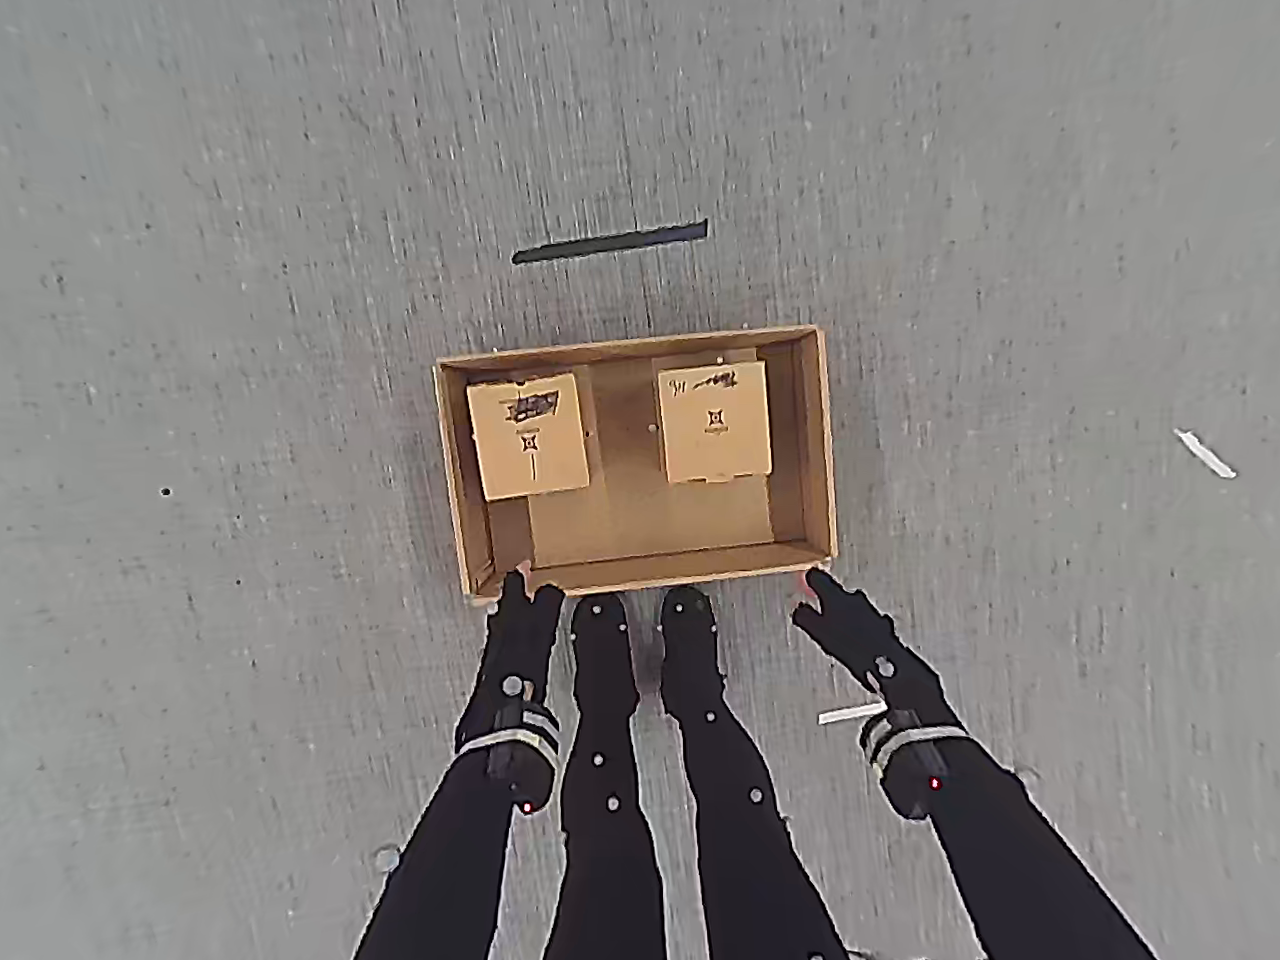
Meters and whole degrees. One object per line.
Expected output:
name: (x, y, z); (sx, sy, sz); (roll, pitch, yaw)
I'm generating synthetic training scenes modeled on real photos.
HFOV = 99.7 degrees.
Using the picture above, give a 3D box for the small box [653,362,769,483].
small box: (0.112, -0.099, 0.908); (0.168, 0.176, 0.179); (-5, 98, -1)
